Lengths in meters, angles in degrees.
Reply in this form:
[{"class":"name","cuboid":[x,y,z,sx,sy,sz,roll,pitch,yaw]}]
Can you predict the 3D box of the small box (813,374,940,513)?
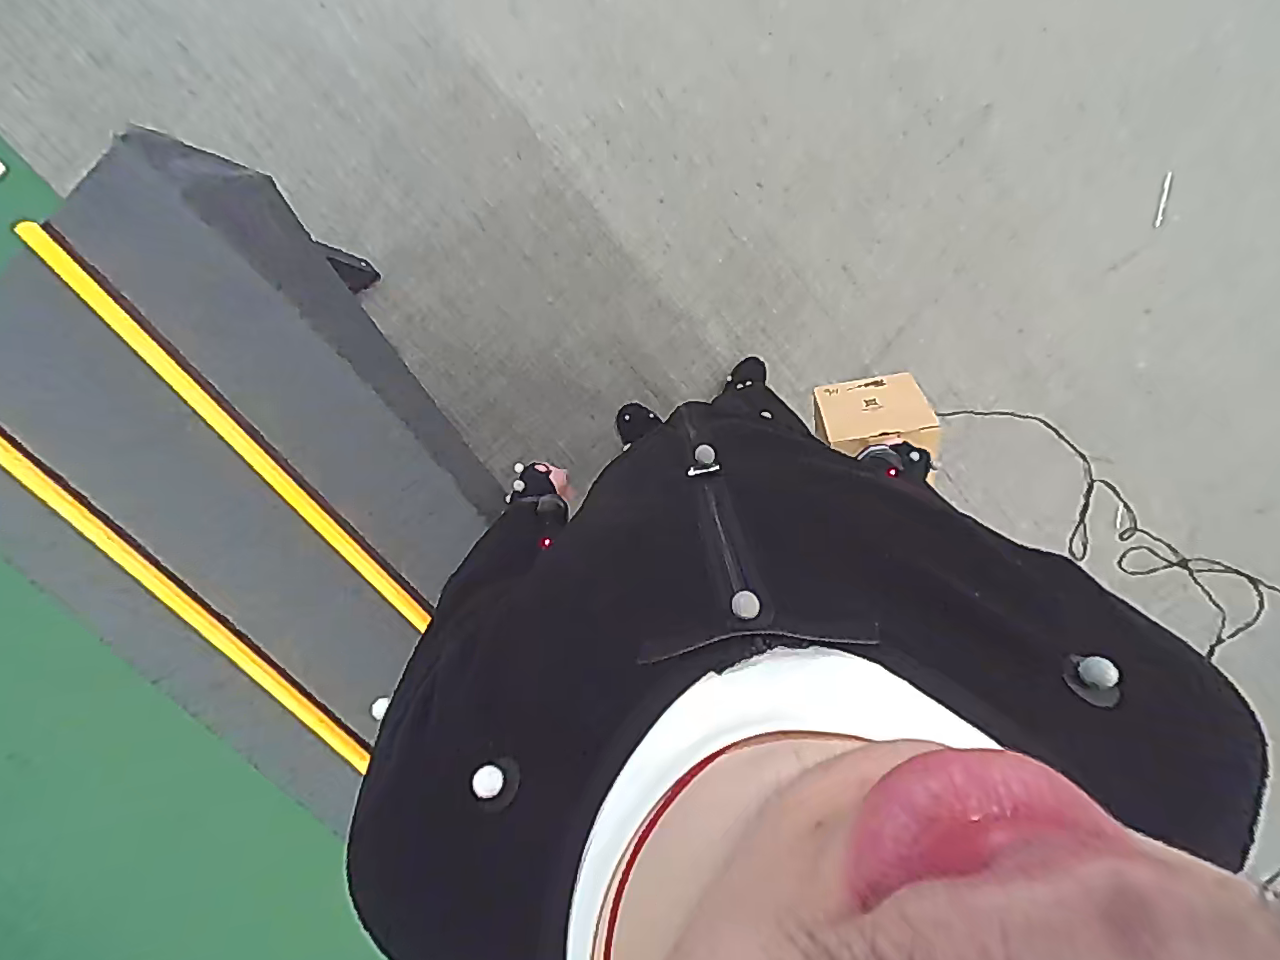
[{"class":"small box","cuboid":[0.410,-0.058,0.953,0.168,0.179,0.176,-10,127,12]}]
